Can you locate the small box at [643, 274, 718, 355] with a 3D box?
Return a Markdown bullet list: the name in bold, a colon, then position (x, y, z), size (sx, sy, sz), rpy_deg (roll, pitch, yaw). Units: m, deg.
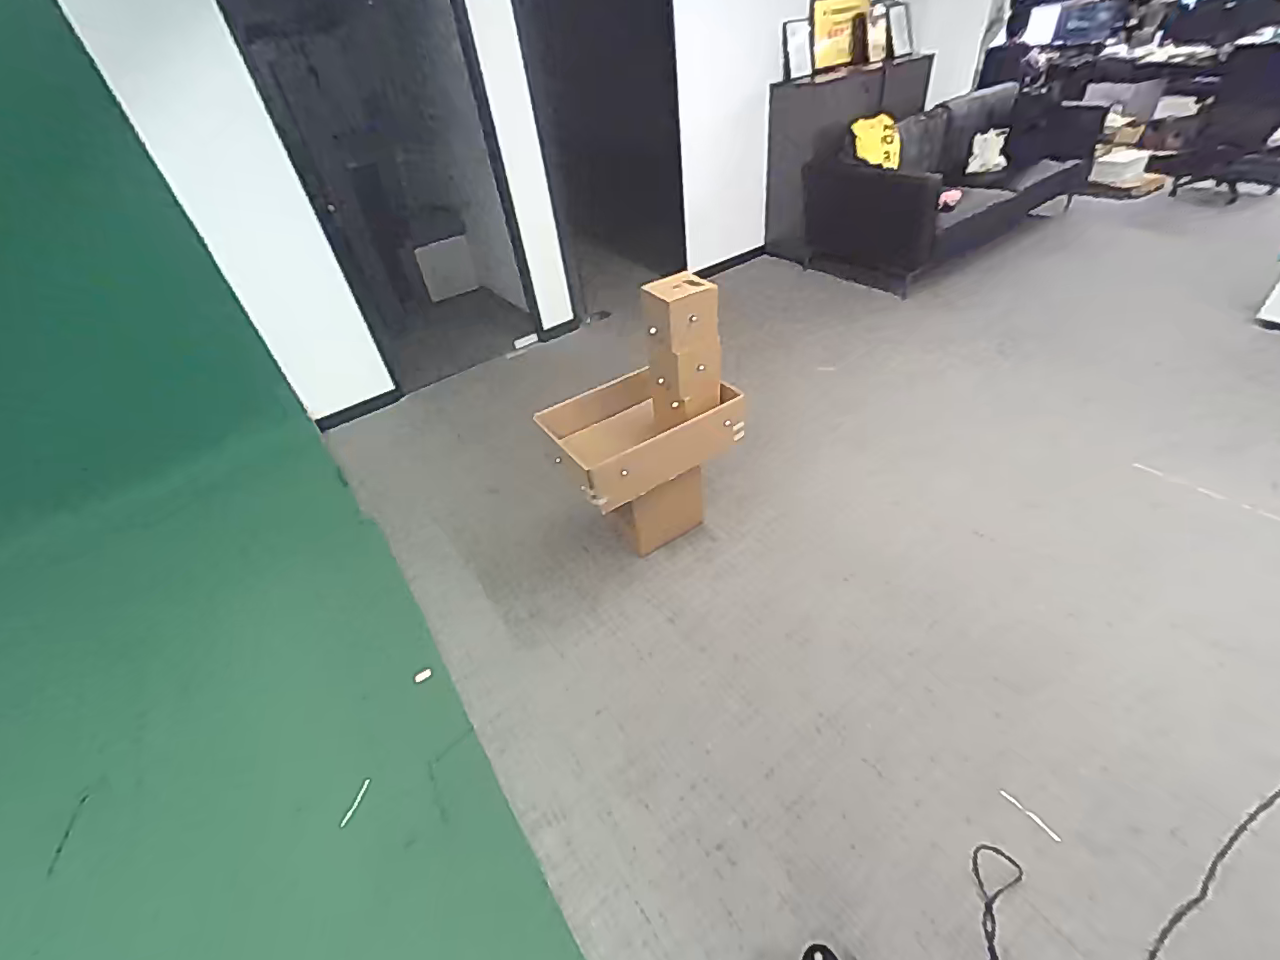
- **small box**: position (0.127, -0.515, 1.682), size (0.179, 0.176, 0.168), rpy_deg (-25, 43, -19)
